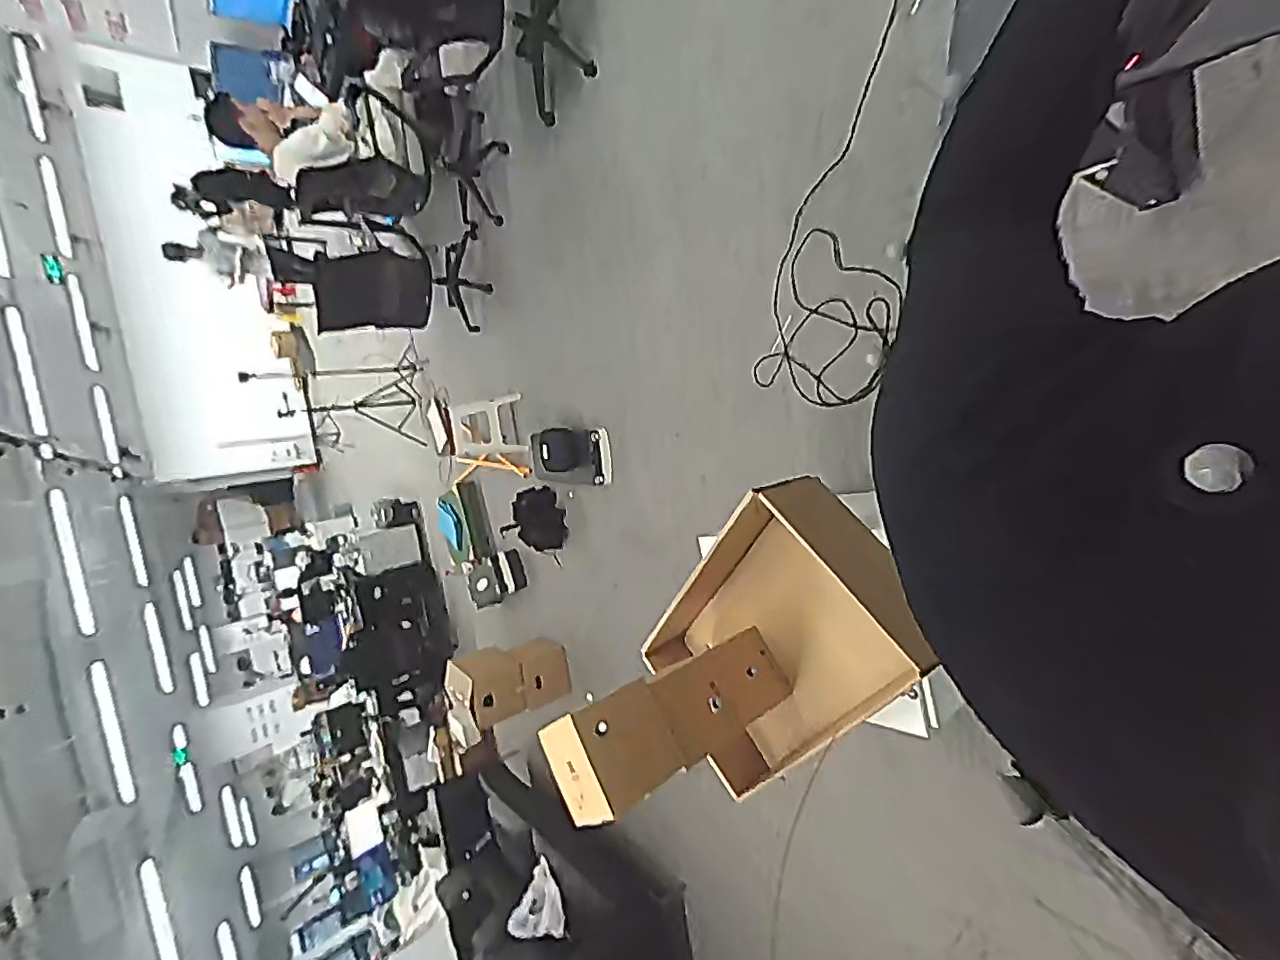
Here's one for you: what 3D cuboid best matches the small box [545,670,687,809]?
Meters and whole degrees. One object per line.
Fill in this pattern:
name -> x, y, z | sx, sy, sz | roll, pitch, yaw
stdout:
small box -> -0.046, 0.474, 1.007 | 0.179, 0.176, 0.168 | 60, 140, 17

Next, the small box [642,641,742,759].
small box -> 0.076, 0.457, 1.117 | 0.179, 0.176, 0.168 | -44, 69, 47
